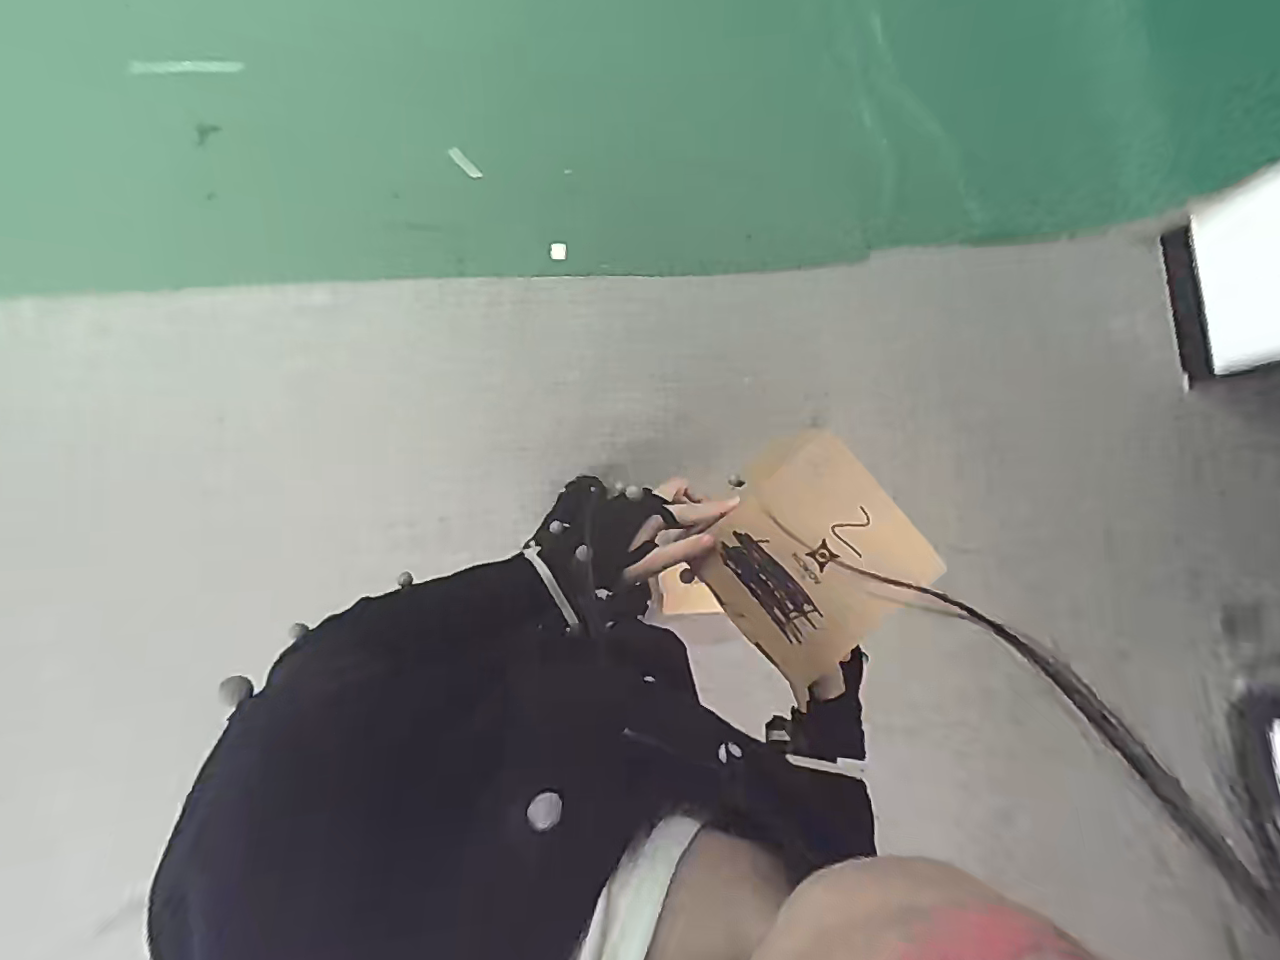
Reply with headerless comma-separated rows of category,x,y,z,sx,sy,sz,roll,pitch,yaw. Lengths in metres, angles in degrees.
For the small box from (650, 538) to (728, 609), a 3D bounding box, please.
small box,0.123,0.238,1.413,0.179,0.176,0.168,-2,85,-4
